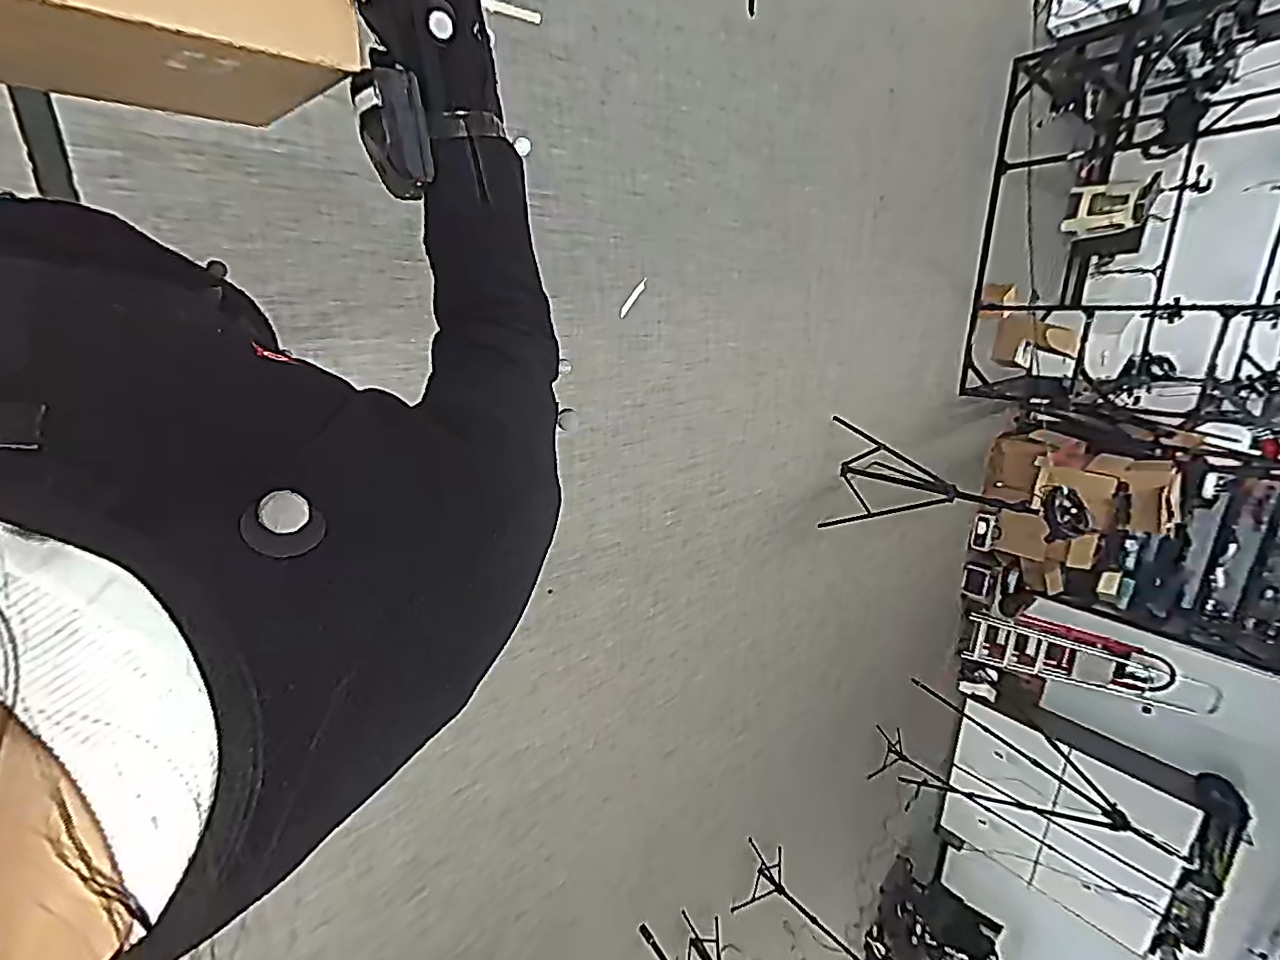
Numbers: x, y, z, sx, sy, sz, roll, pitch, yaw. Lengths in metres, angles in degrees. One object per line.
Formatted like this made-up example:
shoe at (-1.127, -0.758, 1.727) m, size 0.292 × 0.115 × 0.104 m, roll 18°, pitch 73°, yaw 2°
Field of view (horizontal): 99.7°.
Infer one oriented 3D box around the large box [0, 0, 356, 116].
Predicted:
large box at (-0.408, -0.393, 0.240) m, size 0.408 × 0.320 × 0.320 m, roll -16°, pitch 122°, yaw -39°
